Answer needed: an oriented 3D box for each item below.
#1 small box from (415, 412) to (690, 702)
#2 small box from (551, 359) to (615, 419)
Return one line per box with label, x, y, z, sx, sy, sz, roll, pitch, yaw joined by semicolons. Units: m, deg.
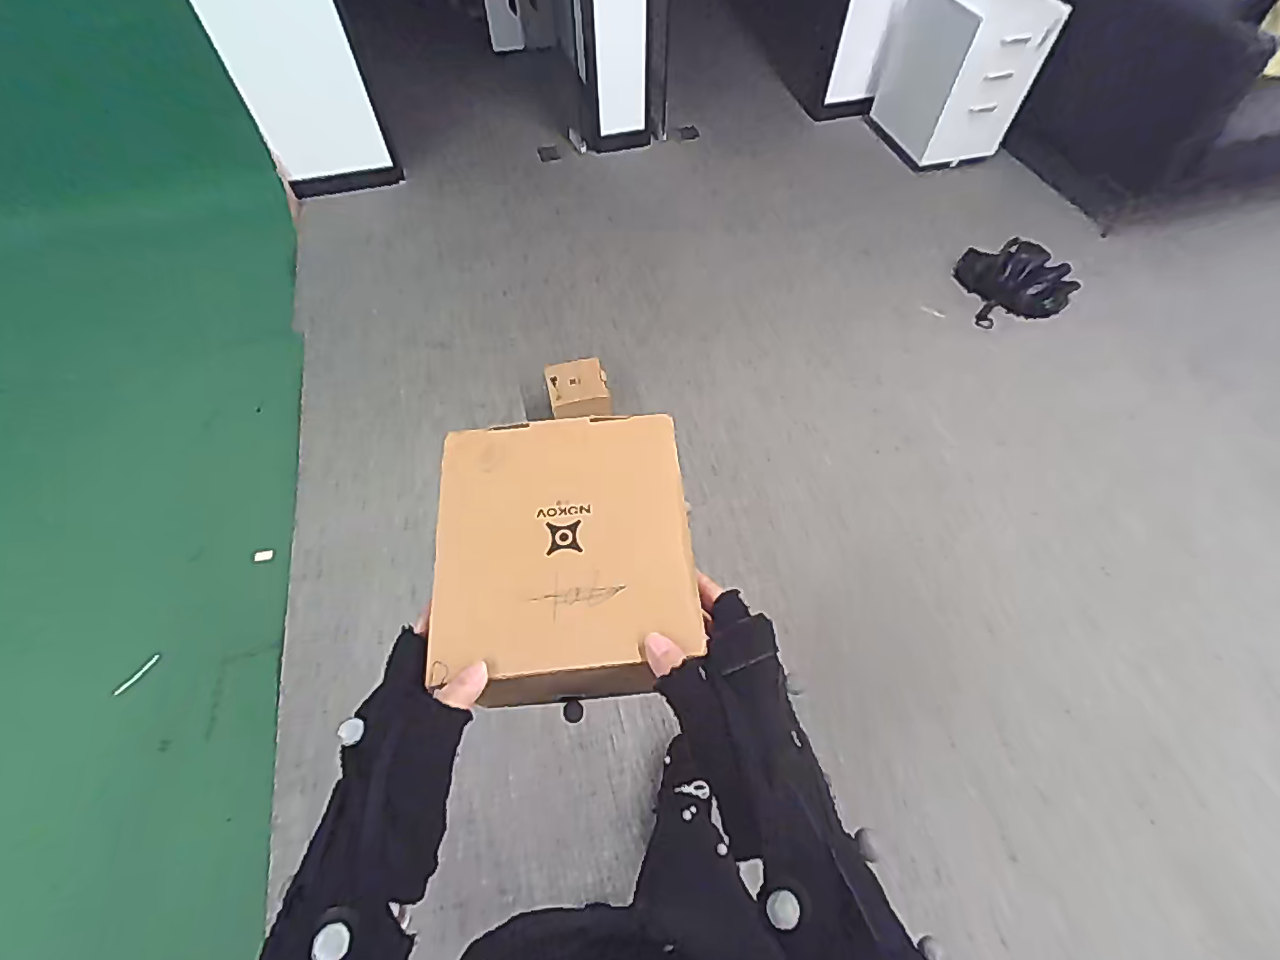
small box;-0.057;0.069;0.428;0.168;0.176;0.179;-5;63;-2
small box;-0.179;-0.258;1.722;0.179;0.176;0.168;-12;58;-7
